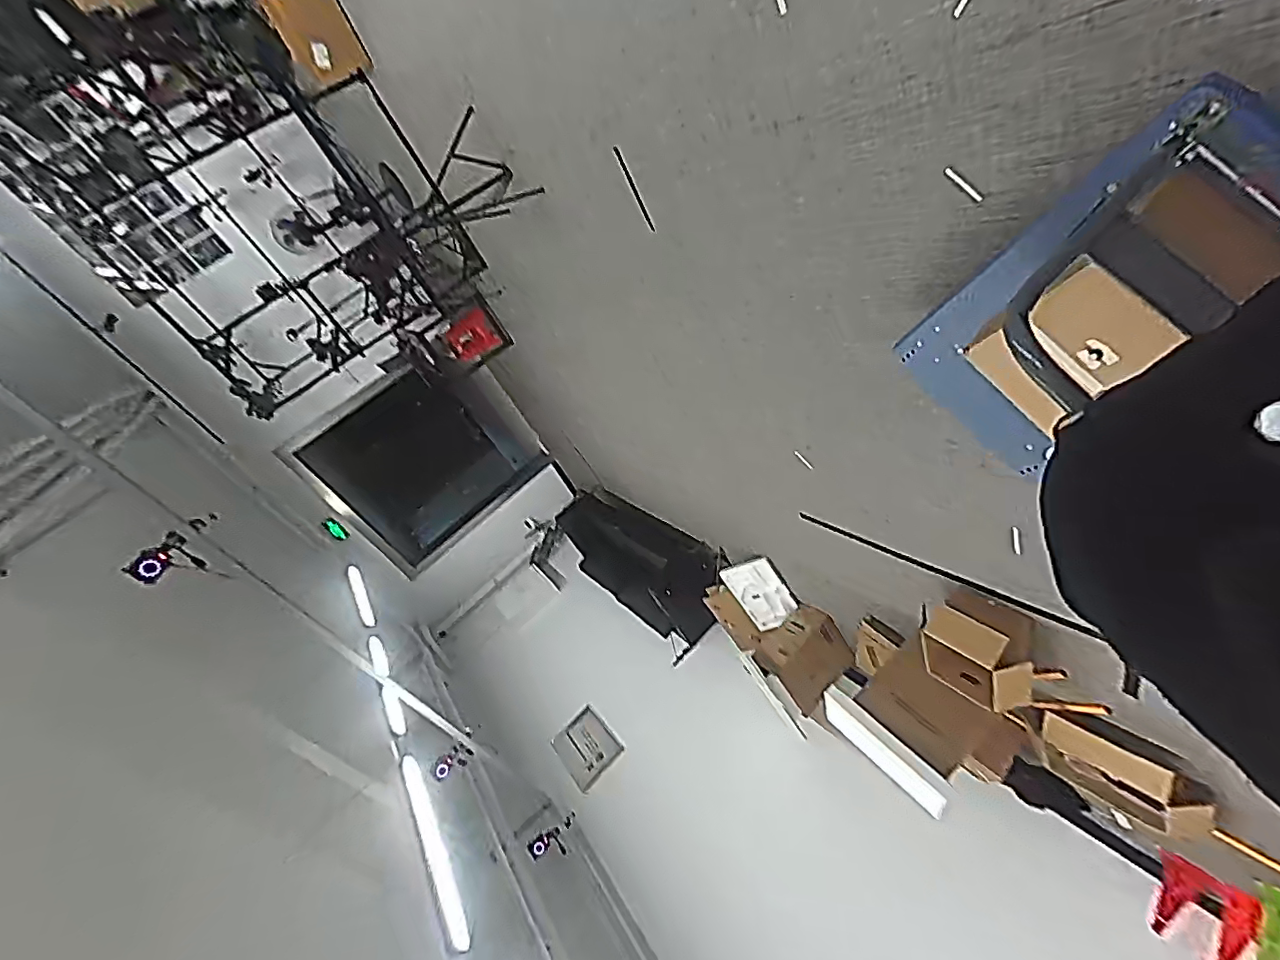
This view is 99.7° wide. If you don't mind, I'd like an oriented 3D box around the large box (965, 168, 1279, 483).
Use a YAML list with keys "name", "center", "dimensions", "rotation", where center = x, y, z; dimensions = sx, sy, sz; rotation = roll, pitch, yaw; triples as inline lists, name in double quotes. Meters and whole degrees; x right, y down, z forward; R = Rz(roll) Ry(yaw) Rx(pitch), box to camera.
- name: "large box"
  center: [0.942, -0.267, 1.009]
  dimensions: [0.408, 0.320, 0.320]
  rotation: [47, 164, 6]
